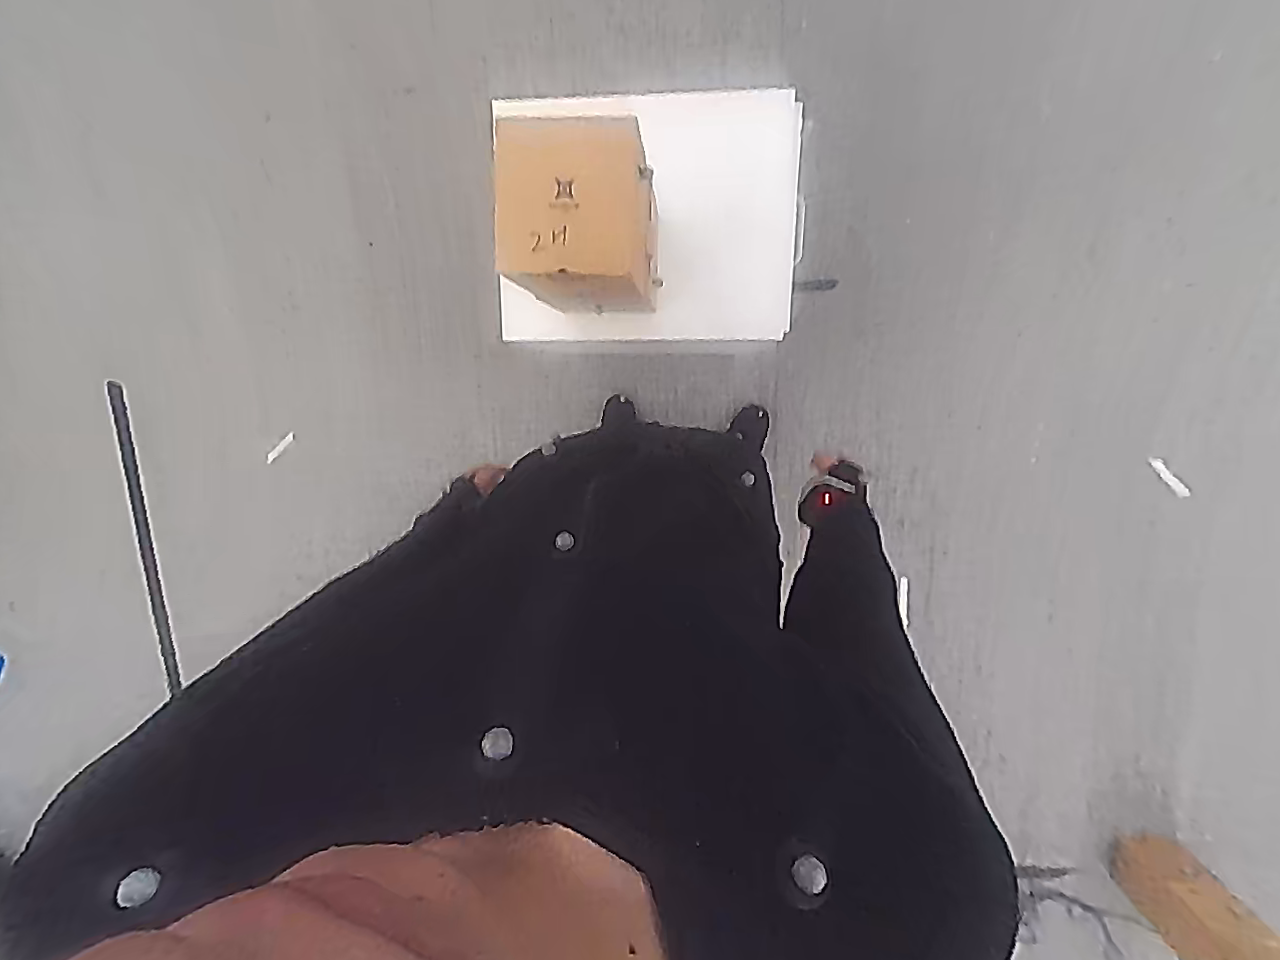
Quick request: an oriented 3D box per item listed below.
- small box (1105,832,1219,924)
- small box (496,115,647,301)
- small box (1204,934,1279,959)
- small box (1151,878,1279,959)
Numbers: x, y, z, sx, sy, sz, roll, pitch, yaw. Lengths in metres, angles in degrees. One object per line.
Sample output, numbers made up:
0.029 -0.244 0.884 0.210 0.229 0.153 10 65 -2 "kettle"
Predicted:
1.589 1.216 1.655 0.179 0.176 0.168 0 100 4 "small box"
-0.080 -0.341 0.707 0.168 0.176 0.179 3 100 5 "small box"
1.563 1.275 1.334 0.179 0.176 0.168 9 101 1 "small box"
1.576 1.247 1.496 0.168 0.176 0.179 2 101 4 "small box"
